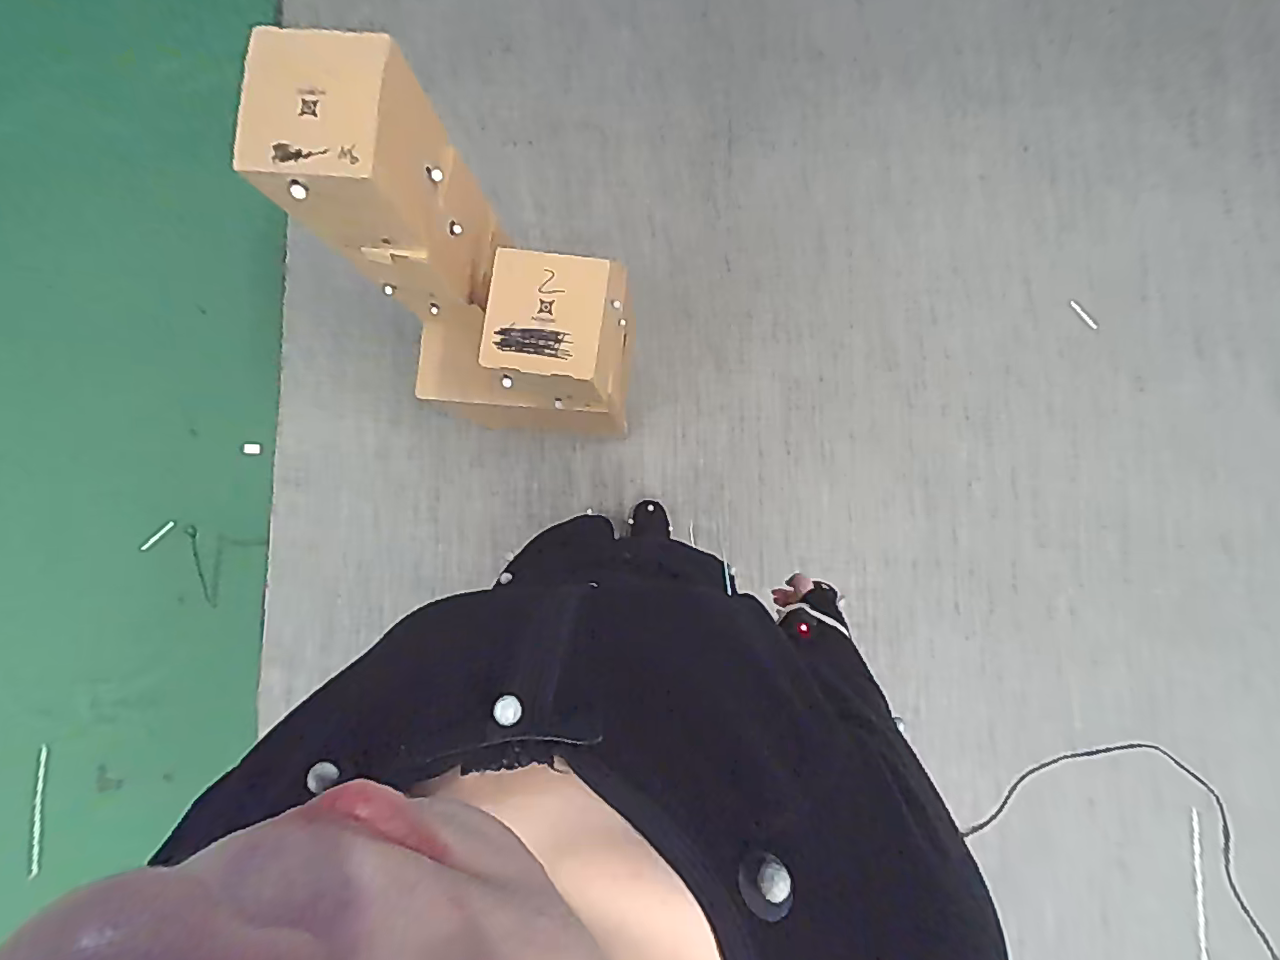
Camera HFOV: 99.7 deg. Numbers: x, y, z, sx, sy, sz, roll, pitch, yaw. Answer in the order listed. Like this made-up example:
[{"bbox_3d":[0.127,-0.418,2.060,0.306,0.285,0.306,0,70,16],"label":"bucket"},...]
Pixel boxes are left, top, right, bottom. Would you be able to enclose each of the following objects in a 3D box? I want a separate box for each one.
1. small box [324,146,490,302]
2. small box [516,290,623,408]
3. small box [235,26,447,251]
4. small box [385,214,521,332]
[{"bbox_3d":[-0.356,-0.408,0.861,0.168,0.176,0.179,13,86,3],"label":"small box"},{"bbox_3d":[-0.122,-0.234,1.003,0.168,0.176,0.179,3,86,3],"label":"small box"},{"bbox_3d":[-0.367,-0.427,0.698,0.168,0.176,0.179,6,86,4],"label":"small box"},{"bbox_3d":[-0.343,-0.395,1.025,0.179,0.176,0.168,11,87,2],"label":"small box"}]
